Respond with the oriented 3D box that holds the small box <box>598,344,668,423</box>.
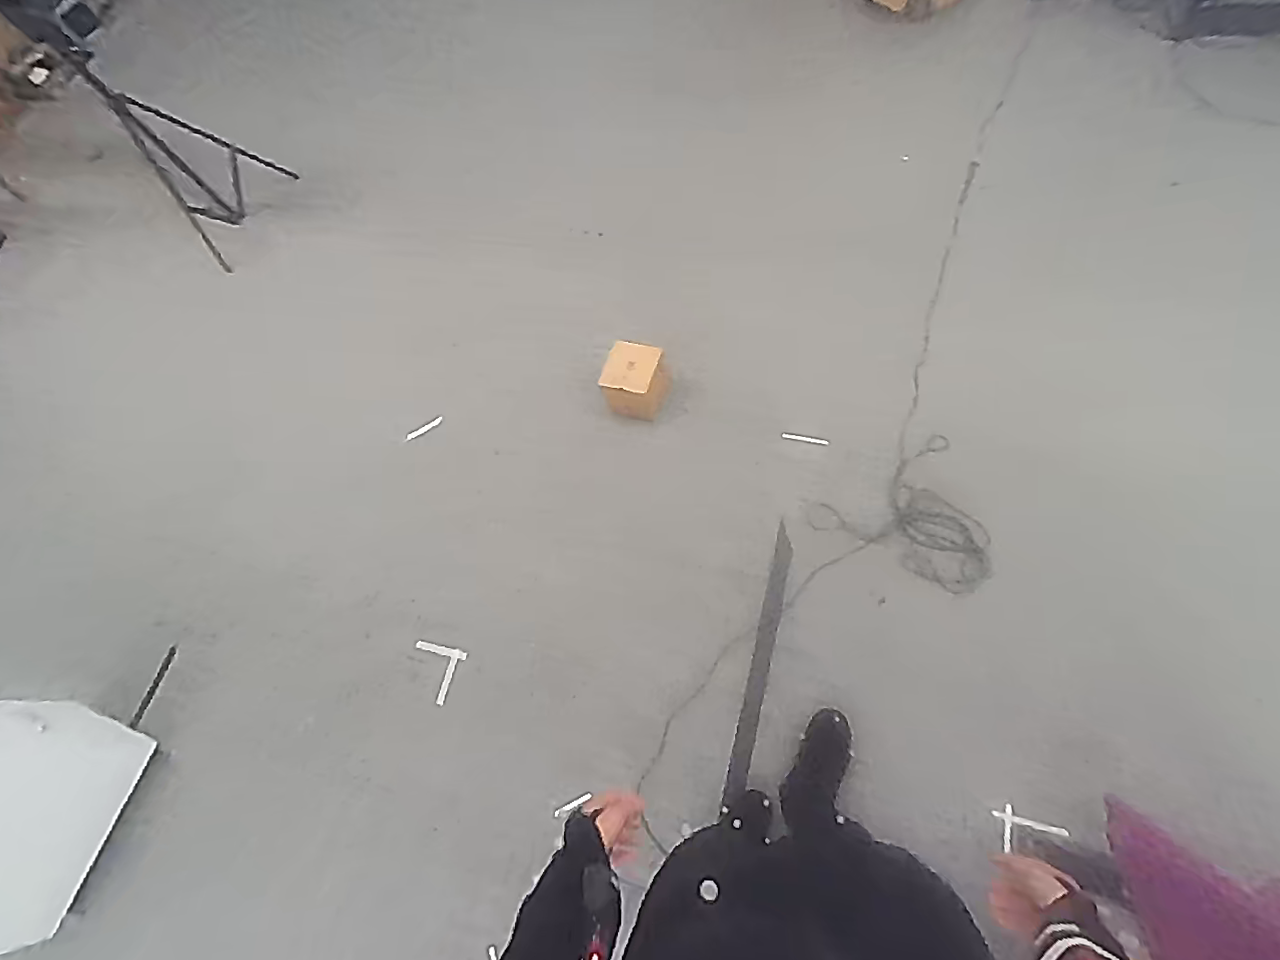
[{"bbox_3d":[-0.015,-0.313,1.767,0.168,0.176,0.179,15,71,18],"label":"small box"}]
